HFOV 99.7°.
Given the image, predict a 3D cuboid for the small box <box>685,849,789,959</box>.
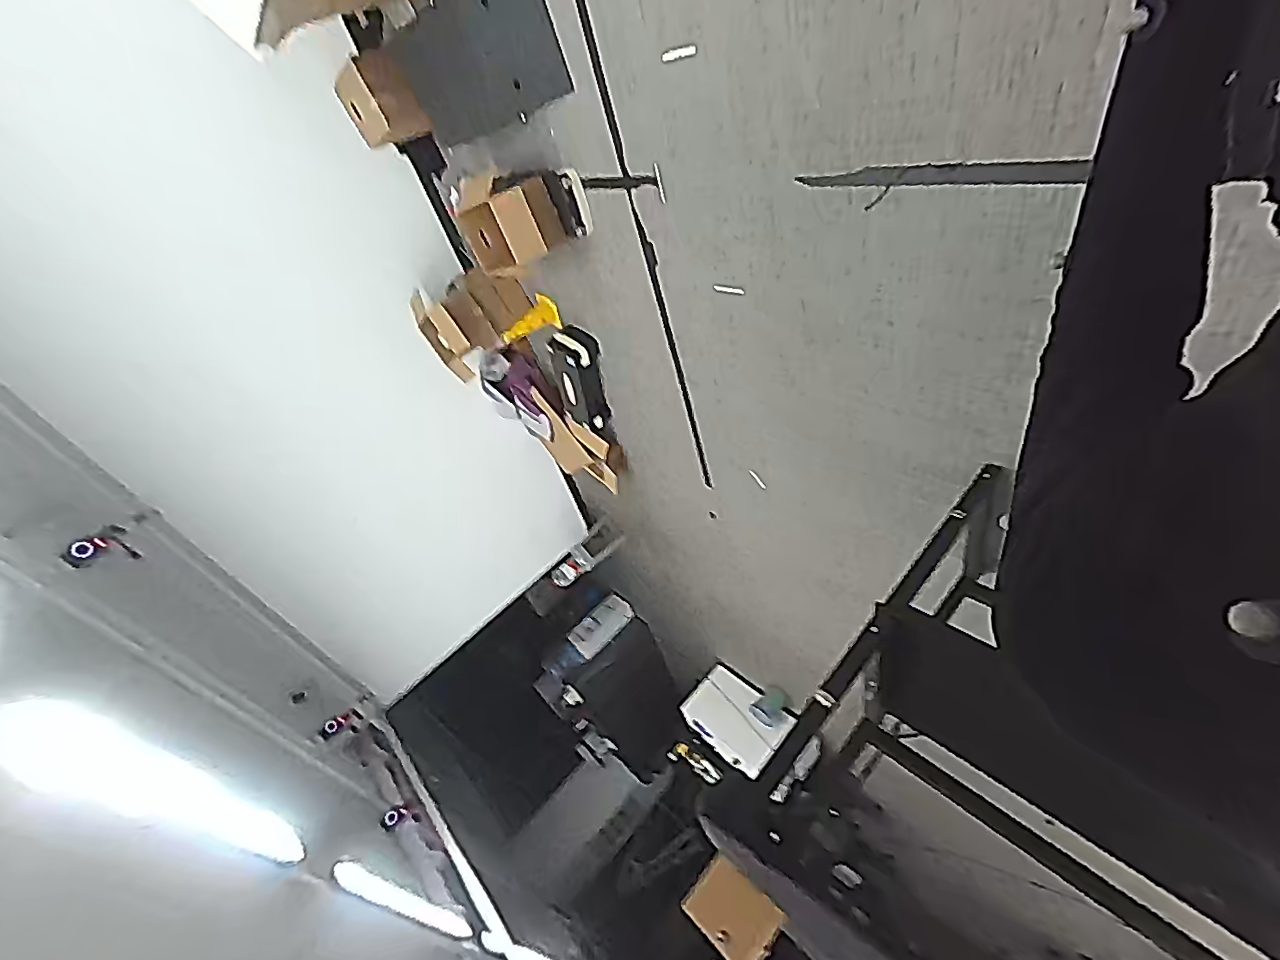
[{"bbox_3d":[0.233,1.013,1.266,0.168,0.176,0.179,28,150,38],"label":"small box"}]
